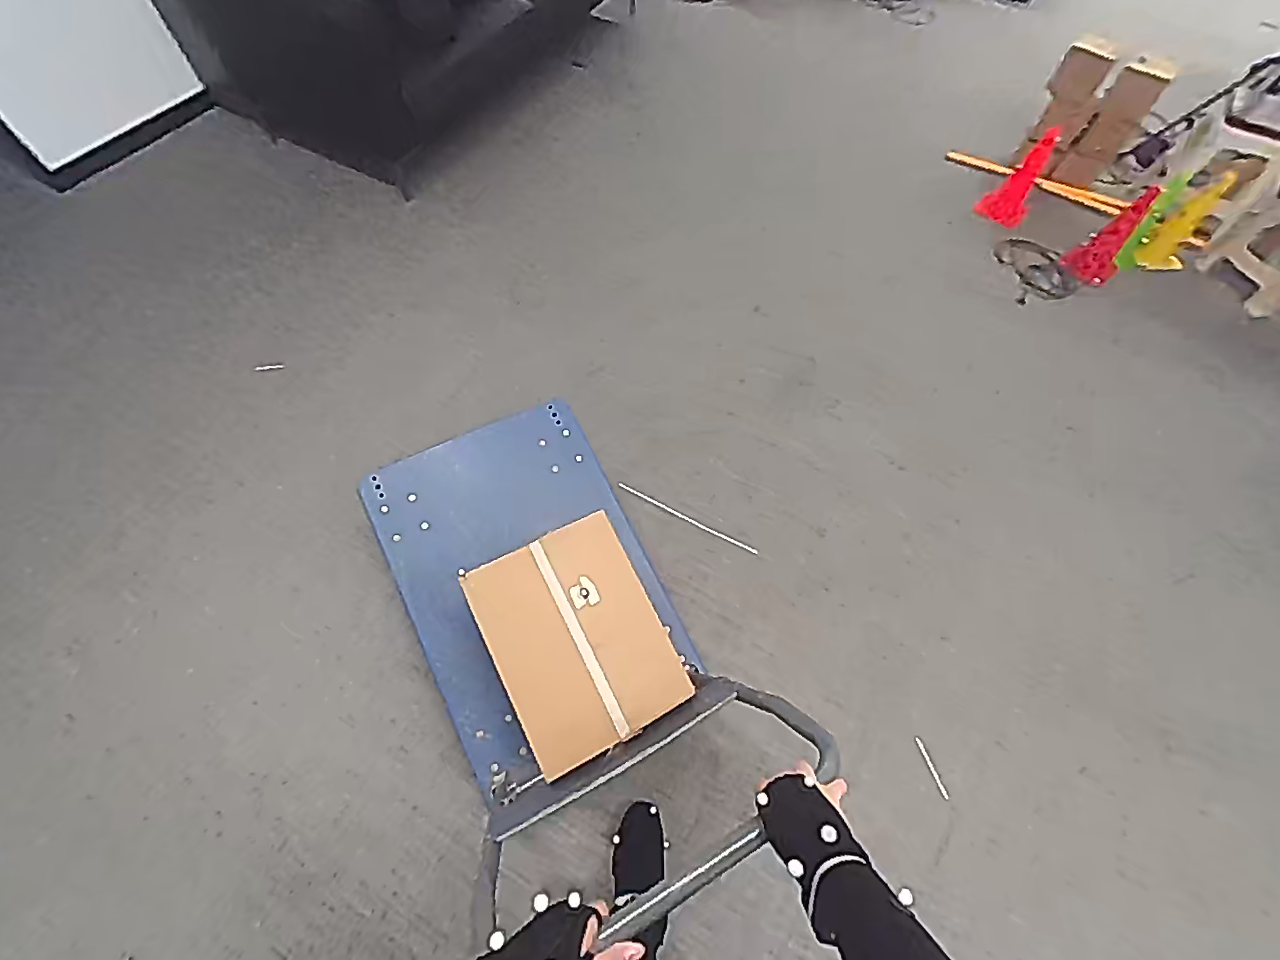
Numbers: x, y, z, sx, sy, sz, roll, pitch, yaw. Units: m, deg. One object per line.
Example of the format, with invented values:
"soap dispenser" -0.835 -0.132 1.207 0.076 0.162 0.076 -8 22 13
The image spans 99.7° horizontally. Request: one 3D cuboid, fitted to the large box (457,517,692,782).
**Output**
"large box" -0.144 0.352 1.172 0.320 0.320 0.408 -26 77 -17
